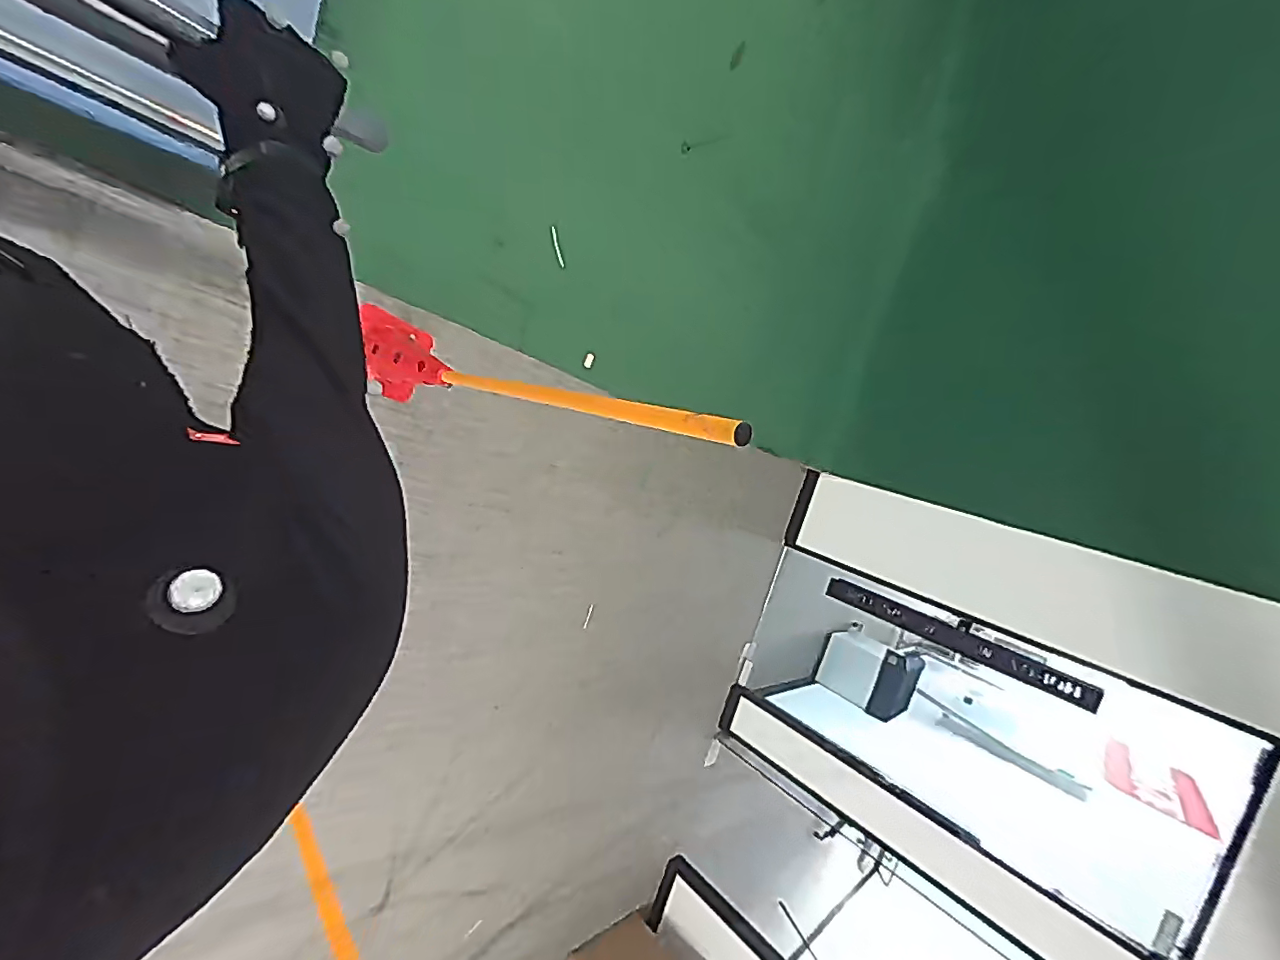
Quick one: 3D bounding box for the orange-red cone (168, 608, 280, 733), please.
[{"bbox_3d":[-0.913,0.457,1.231,0.199,0.360,0.198,16,94,-47],"label":"orange-red cone"}]
